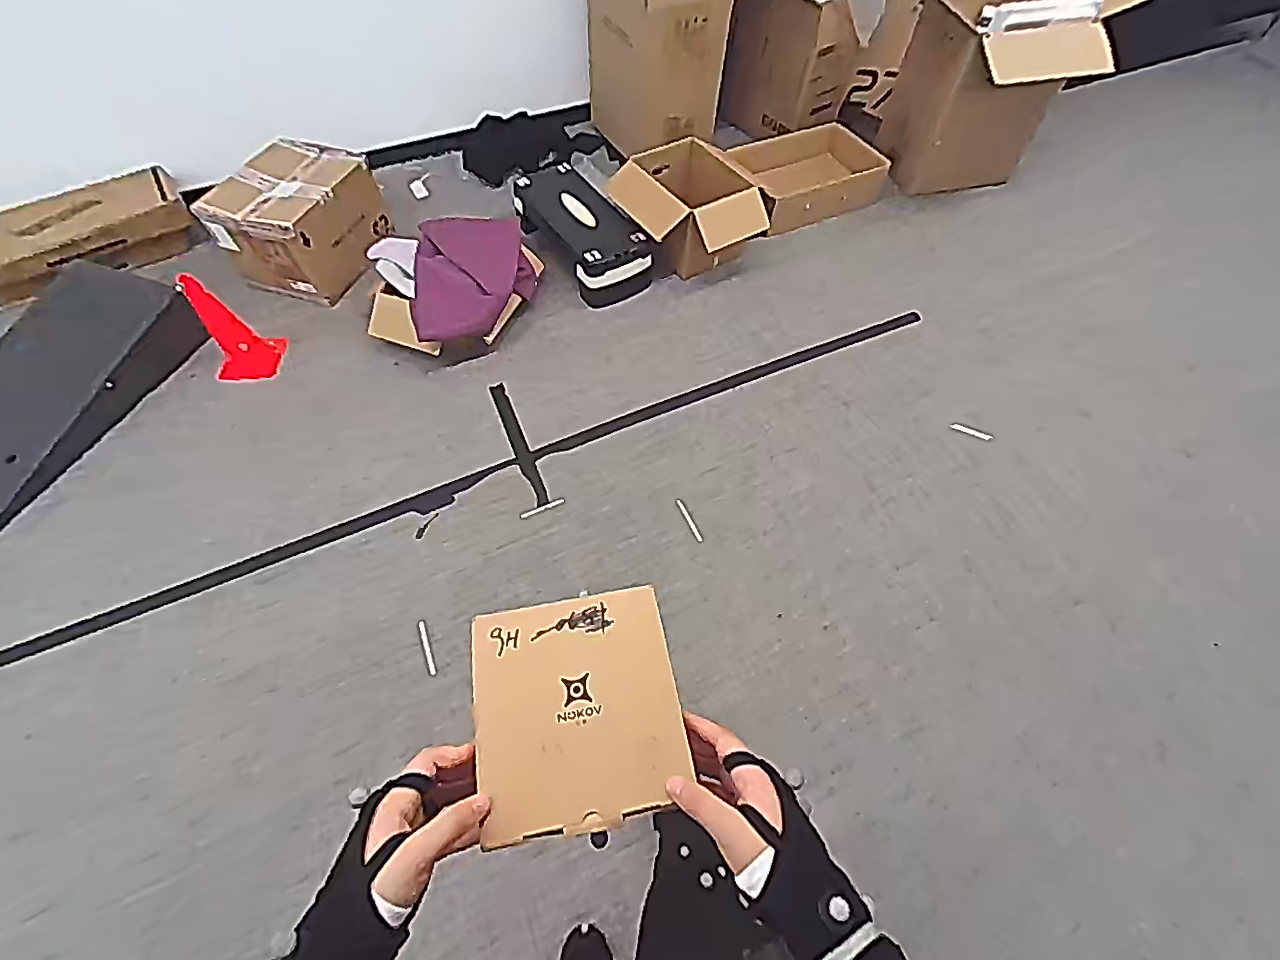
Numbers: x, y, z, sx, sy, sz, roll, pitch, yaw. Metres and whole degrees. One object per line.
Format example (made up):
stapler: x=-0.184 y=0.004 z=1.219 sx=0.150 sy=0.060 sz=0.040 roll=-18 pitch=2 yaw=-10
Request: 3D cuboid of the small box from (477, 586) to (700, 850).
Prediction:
small box: x=-0.049 y=0.222 z=0.511 sx=0.168 sy=0.176 sz=0.179 roll=-9 pitch=60 yaw=-7
